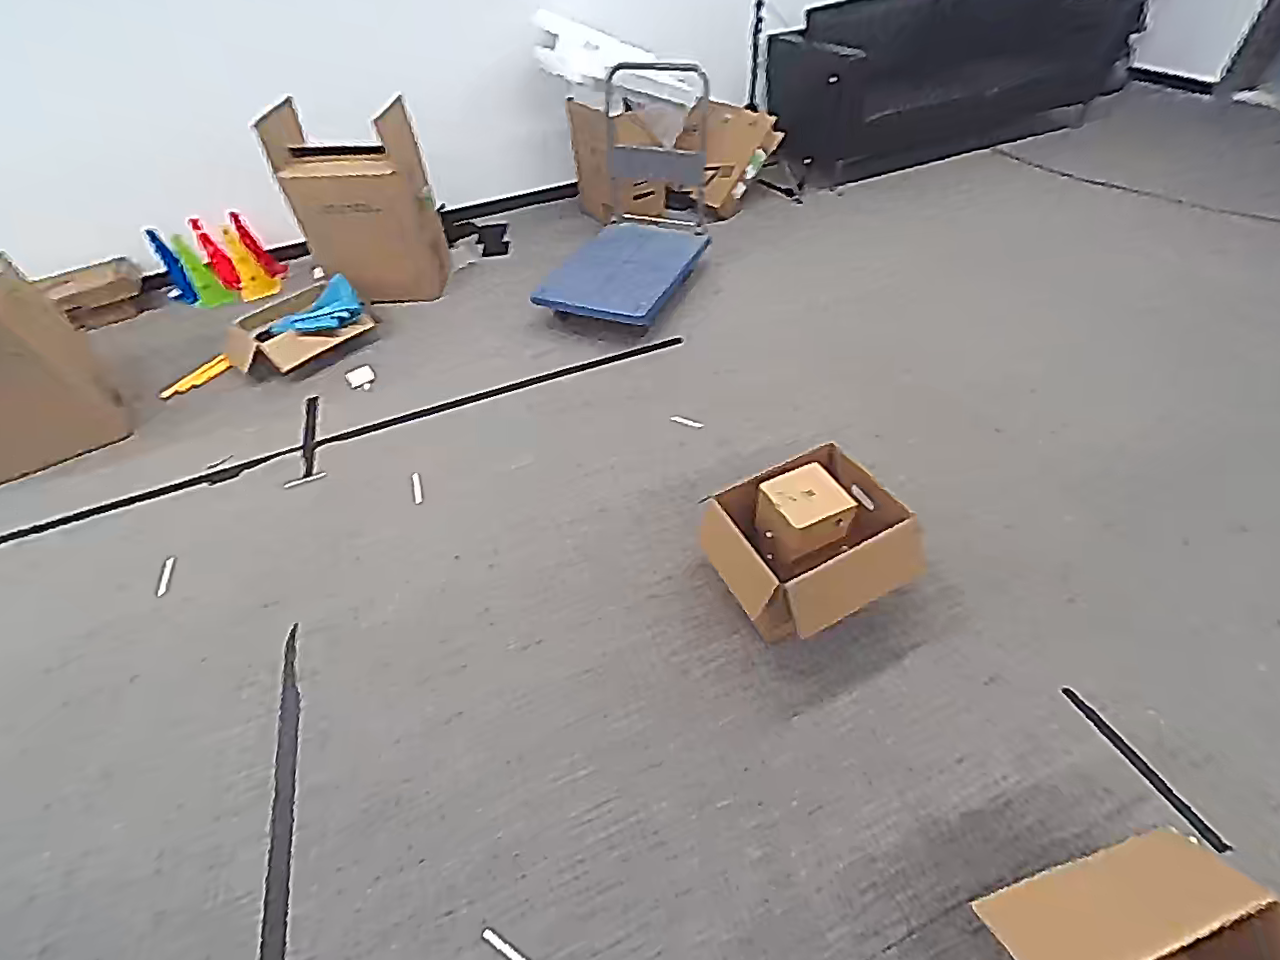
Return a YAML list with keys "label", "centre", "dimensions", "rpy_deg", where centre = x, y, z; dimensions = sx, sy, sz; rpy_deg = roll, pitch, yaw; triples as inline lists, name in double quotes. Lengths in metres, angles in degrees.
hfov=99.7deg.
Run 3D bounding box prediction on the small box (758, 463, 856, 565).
- label: "small box"
  centre: [0.423, 0.090, 1.403]
  dimensions: [0.179, 0.176, 0.168]
  rpy_deg: [-21, 48, -12]
